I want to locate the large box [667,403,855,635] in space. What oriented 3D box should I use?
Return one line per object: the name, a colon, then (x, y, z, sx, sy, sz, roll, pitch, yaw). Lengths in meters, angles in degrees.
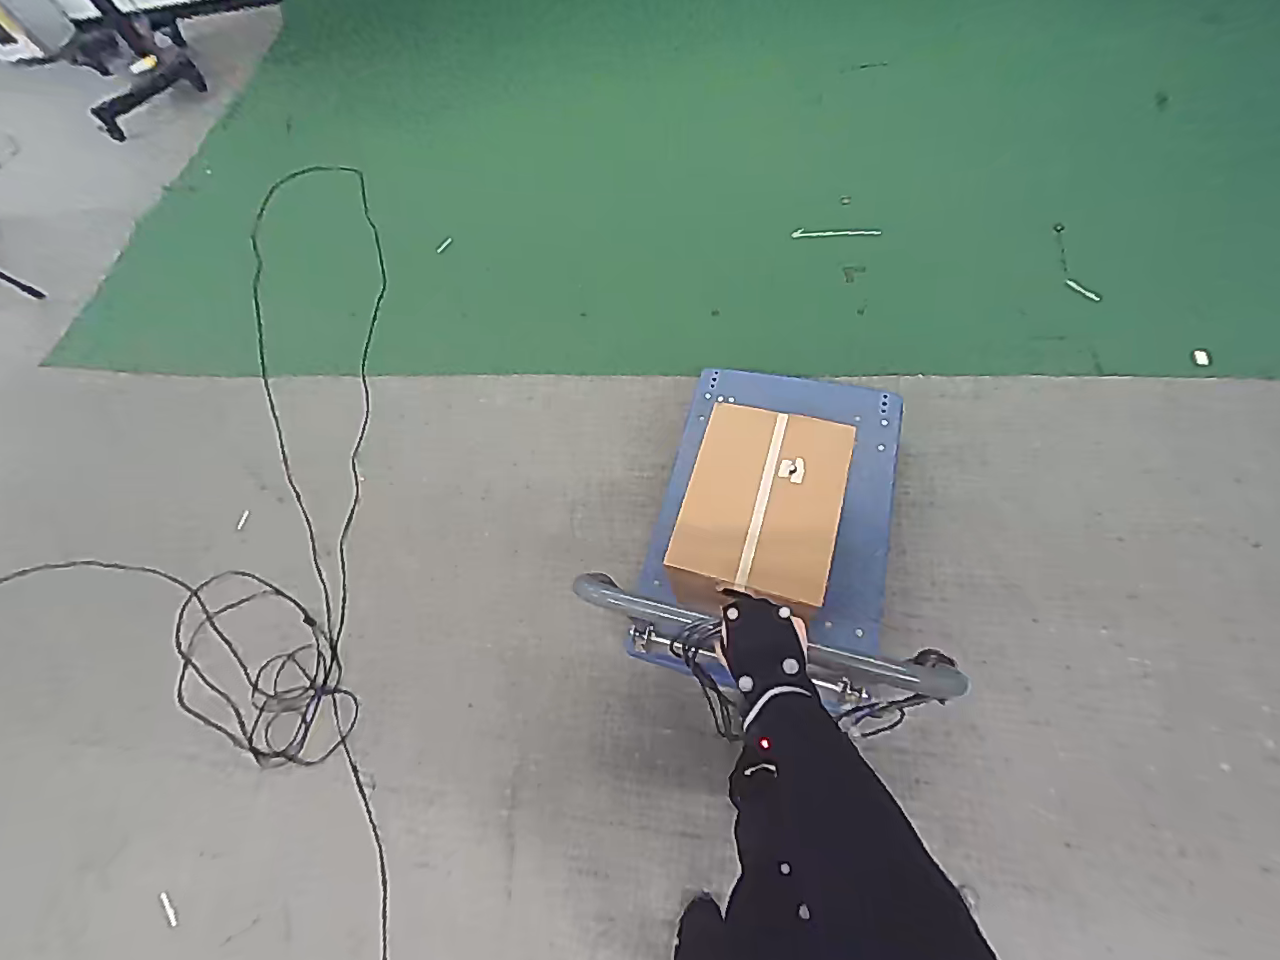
large box: (0.277, 0.095, 1.241, 0.320, 0.320, 0.408, 14, 67, 15)
